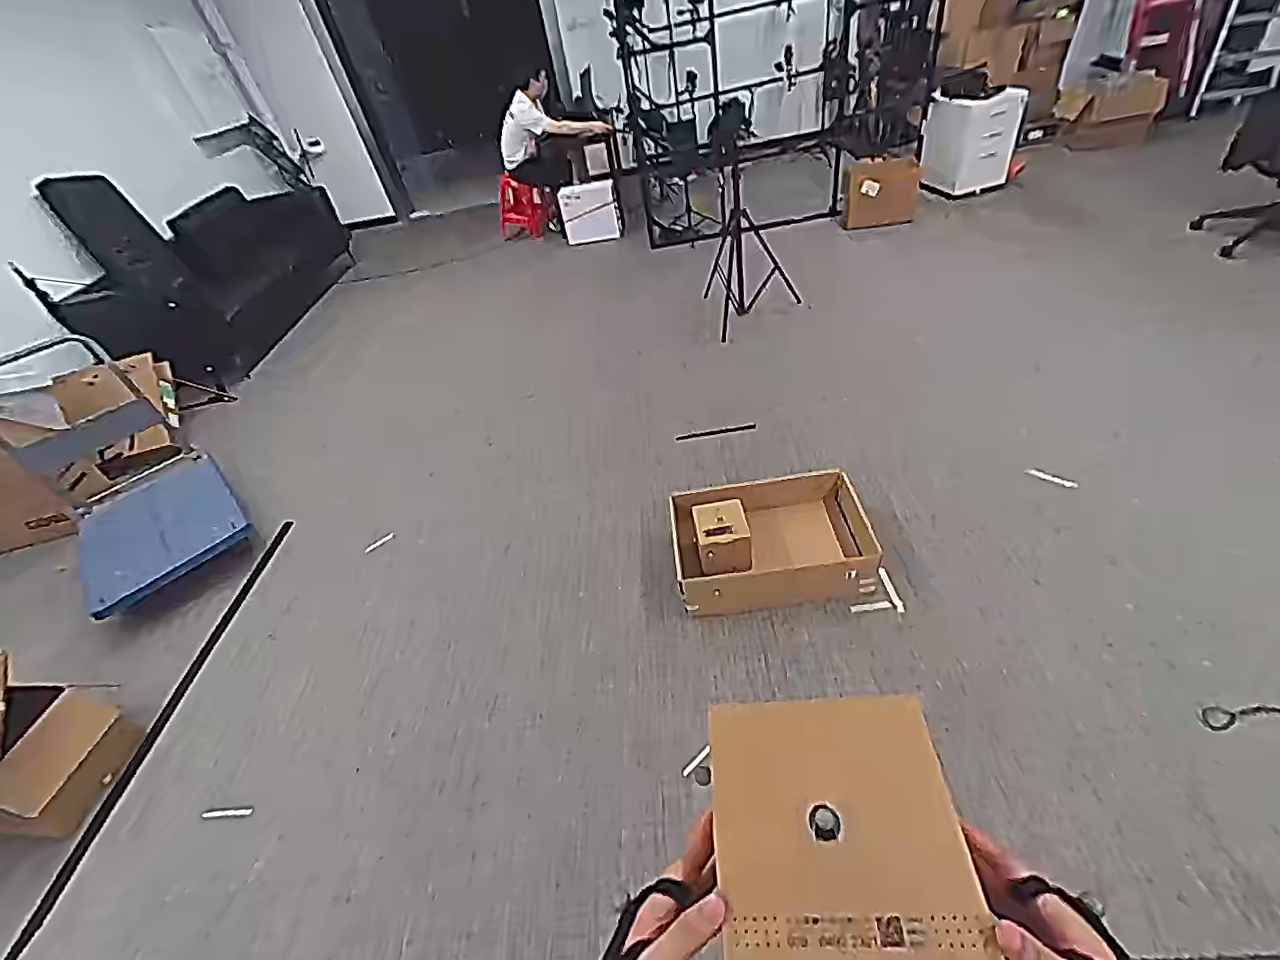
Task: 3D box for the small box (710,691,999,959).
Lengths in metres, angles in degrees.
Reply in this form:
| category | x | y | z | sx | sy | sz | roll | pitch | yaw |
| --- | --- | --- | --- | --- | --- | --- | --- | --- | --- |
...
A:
| category | x | y | z | sx | sy | sz | roll | pitch | yaw |
| --- | --- | --- | --- | --- | --- | --- | --- | --- | --- |
| small box | 0.153 | 0.292 | 0.435 | 0.168 | 0.179 | 0.176 | -7 | 45 | 9 |
